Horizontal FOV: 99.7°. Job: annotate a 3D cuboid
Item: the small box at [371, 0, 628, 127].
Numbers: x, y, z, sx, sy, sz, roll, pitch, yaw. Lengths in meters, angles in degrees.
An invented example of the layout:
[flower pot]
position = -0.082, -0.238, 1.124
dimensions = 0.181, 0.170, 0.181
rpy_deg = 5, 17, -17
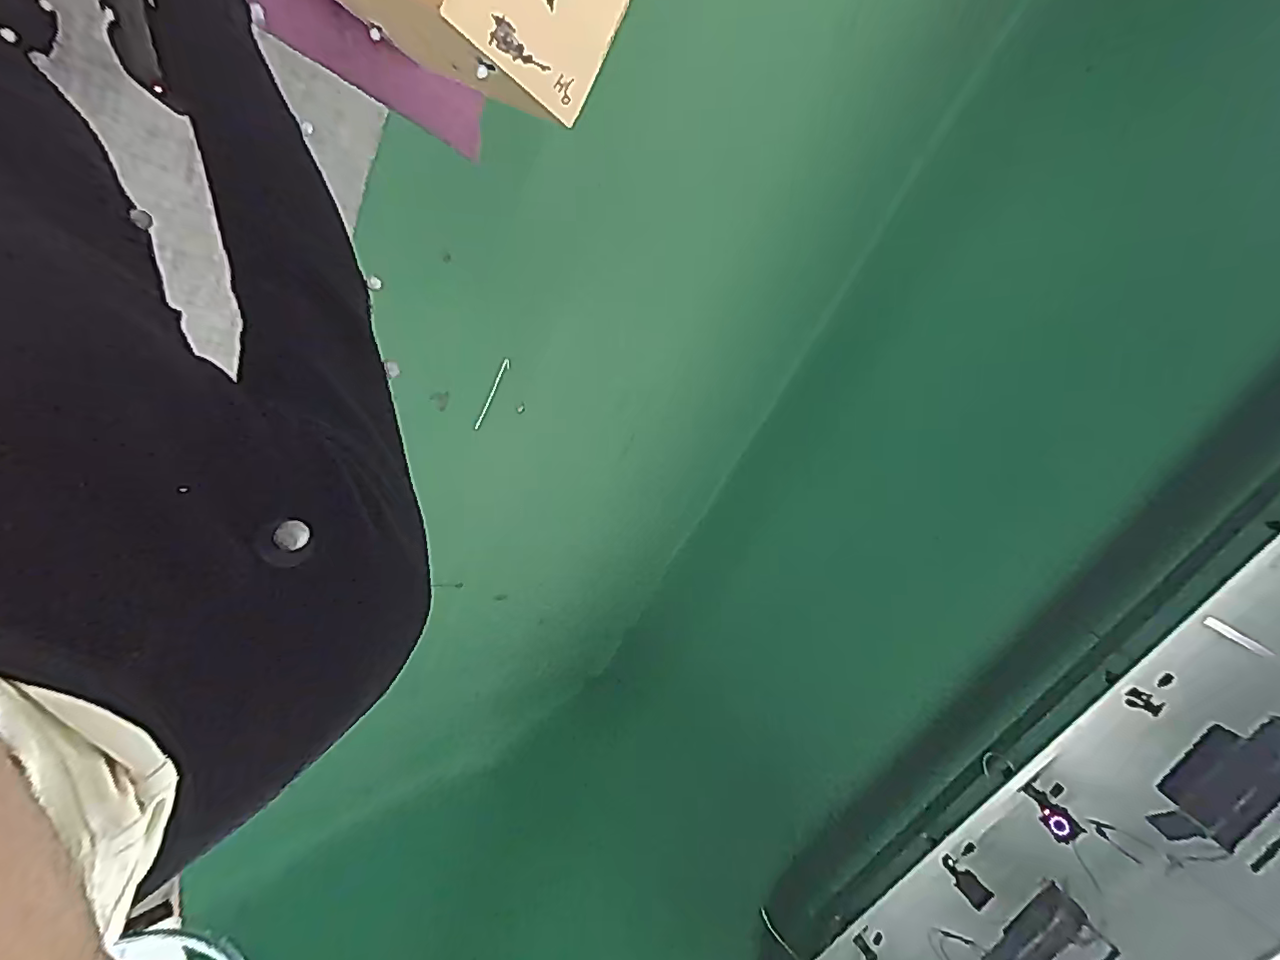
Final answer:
[small box]
position = -0.133, -0.493, 0.522
dimensions = 0.168, 0.176, 0.179
rpy_deg = 6, 119, -55
